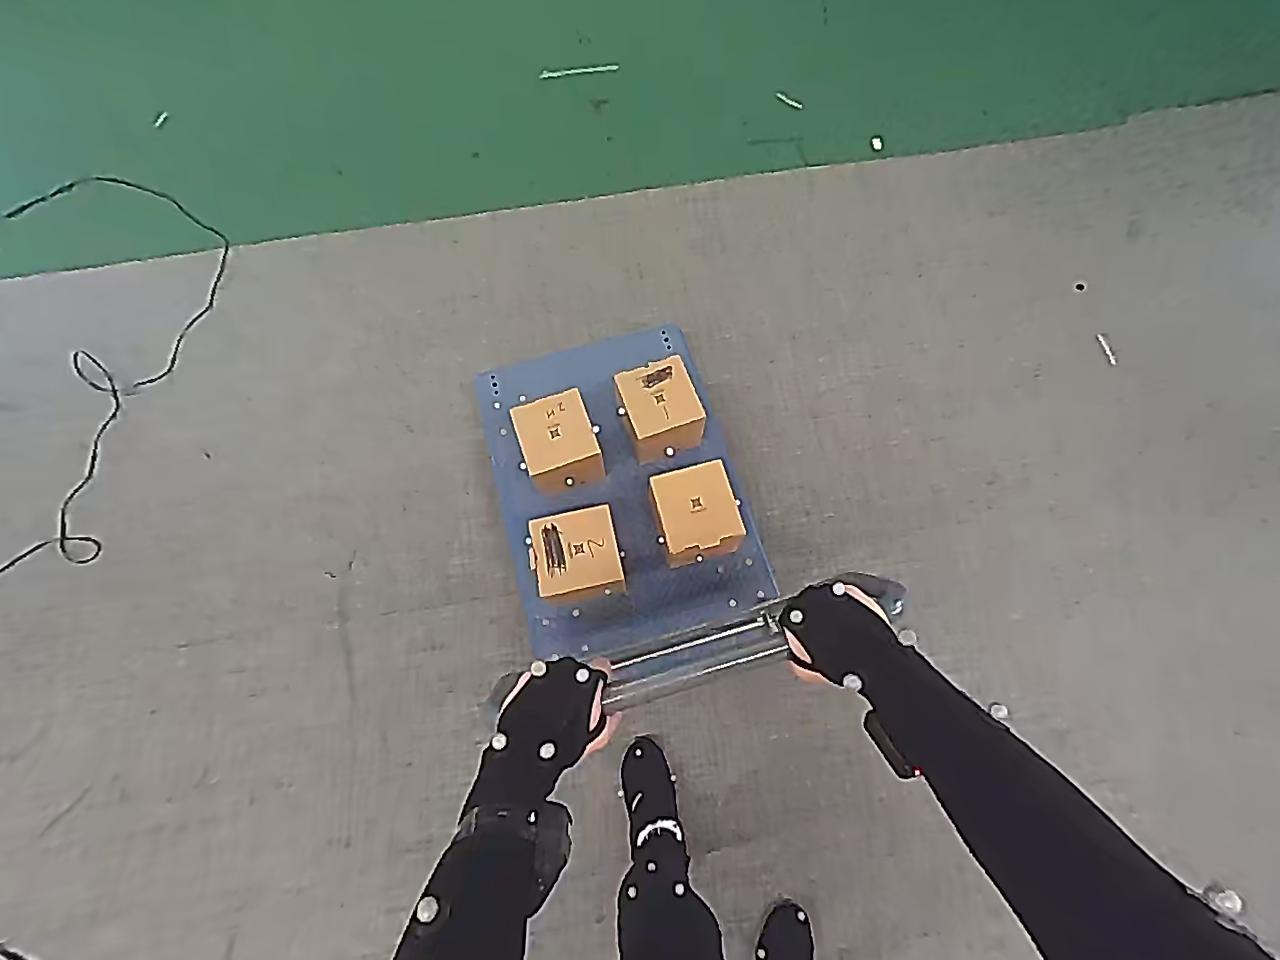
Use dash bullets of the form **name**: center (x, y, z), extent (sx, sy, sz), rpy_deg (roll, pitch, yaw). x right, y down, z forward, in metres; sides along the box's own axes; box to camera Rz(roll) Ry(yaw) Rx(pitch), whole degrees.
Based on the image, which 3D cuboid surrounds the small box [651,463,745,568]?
- **small box**: center (0.124, 0.086, 1.244), extent (0.168, 0.176, 0.179), rpy_deg (-15, 71, -4)

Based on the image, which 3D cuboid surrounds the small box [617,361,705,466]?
- **small box**: center (0.048, -0.158, 1.332), extent (0.168, 0.176, 0.179), rpy_deg (-19, 72, -5)

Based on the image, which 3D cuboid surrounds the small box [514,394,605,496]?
- **small box**: center (-0.188, -0.075, 1.307), extent (0.168, 0.176, 0.179), rpy_deg (-19, 71, -6)
